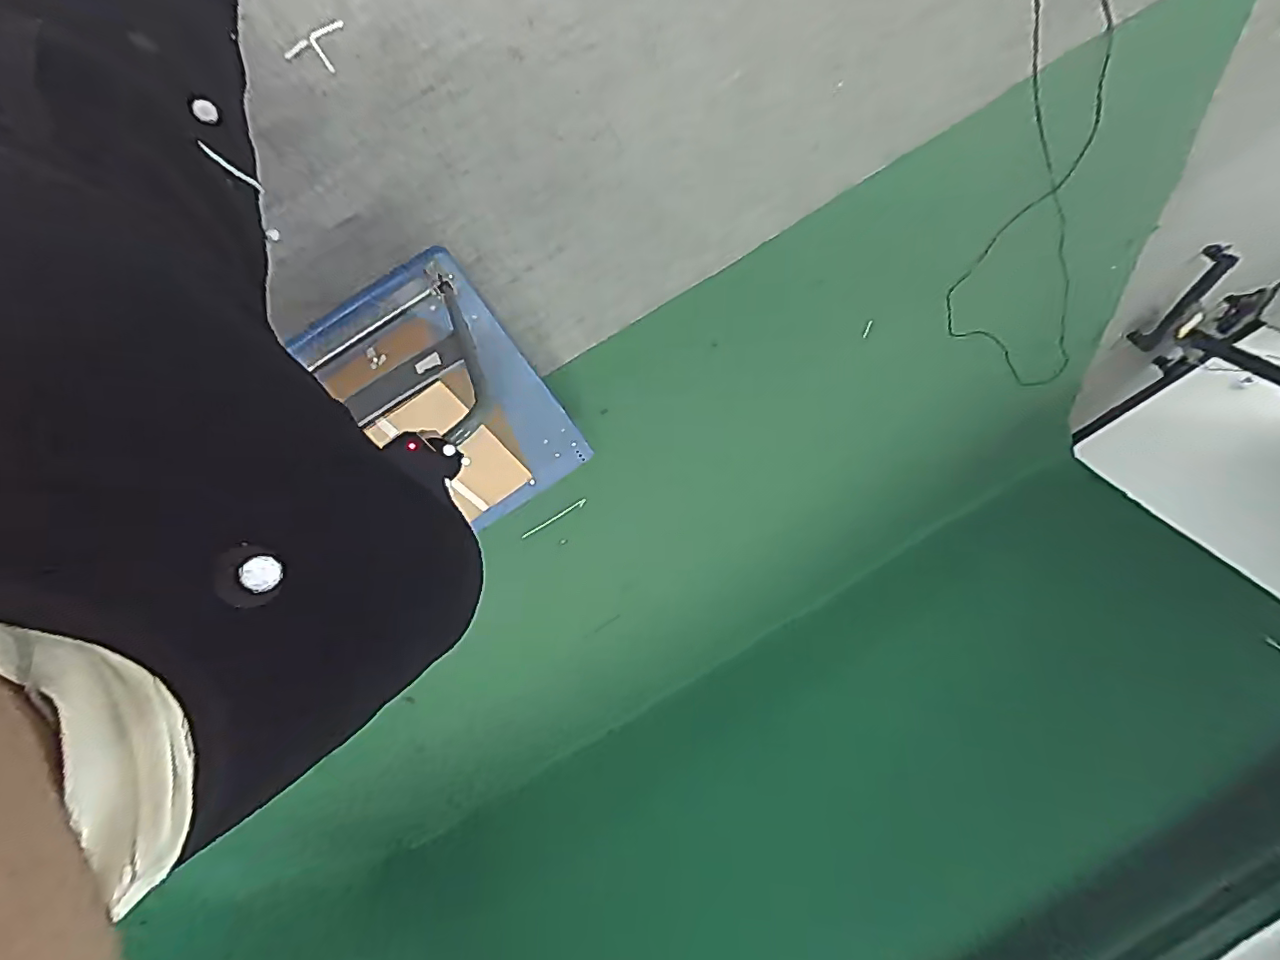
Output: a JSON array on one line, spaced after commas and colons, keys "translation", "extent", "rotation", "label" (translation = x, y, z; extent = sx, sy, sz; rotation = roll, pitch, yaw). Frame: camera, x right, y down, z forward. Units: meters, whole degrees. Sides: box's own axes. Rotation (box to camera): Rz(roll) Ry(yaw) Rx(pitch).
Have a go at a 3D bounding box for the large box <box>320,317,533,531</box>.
[{"translation": [-0.556, -0.138, 1.426], "extent": [0.320, 0.320, 0.408], "rotation": [-33, 141, 2], "label": "large box"}]
